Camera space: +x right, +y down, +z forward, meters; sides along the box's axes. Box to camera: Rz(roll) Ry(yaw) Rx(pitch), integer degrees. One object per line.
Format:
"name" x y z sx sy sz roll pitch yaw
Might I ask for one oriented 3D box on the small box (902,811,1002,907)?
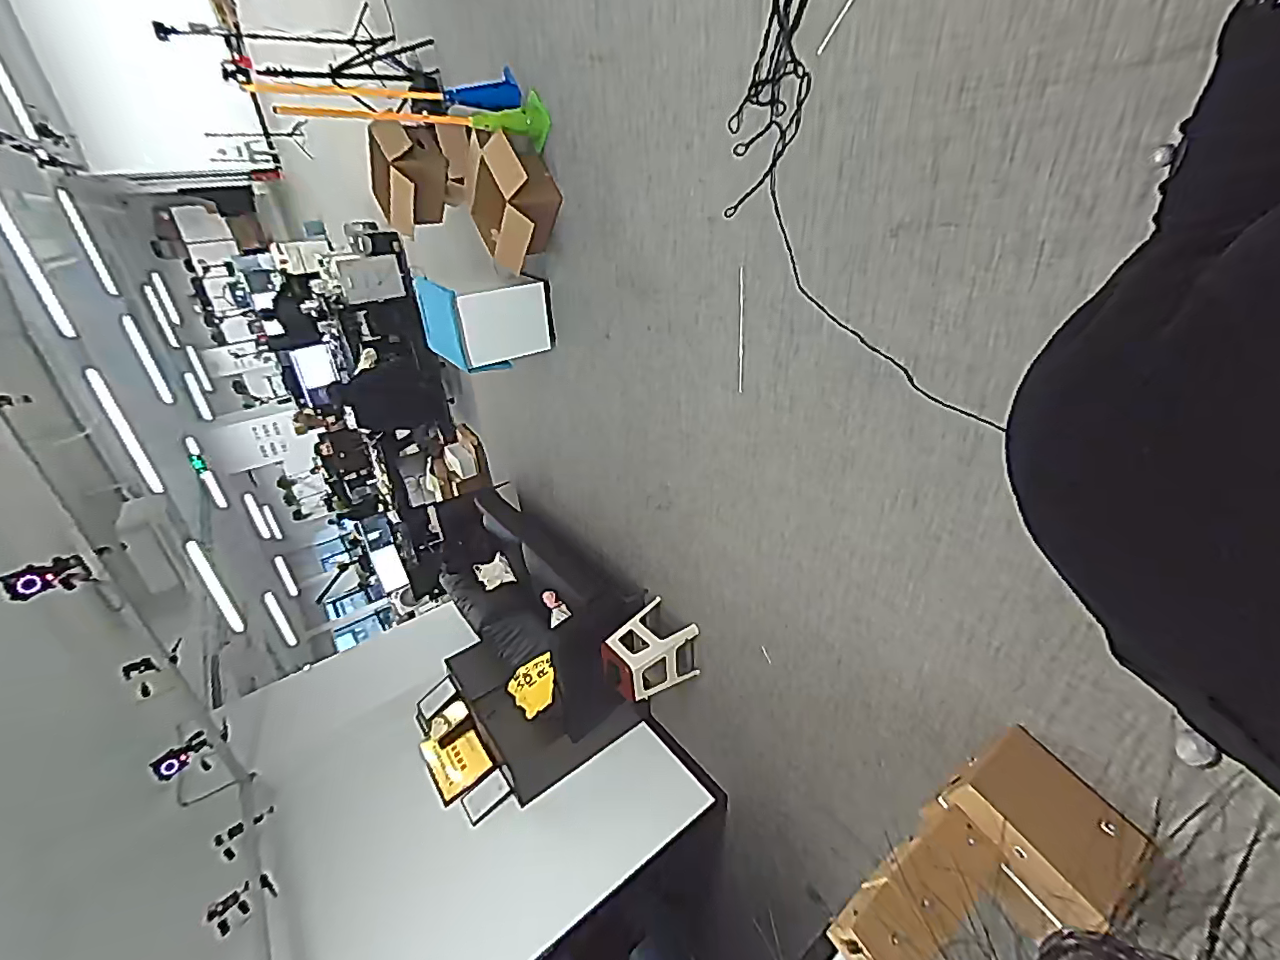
"small box" 0.900 1.104 1.567 0.168 0.176 0.179 47 145 32

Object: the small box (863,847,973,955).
"small box" 0.765 1.154 1.493 0.179 0.176 0.168 47 146 30
